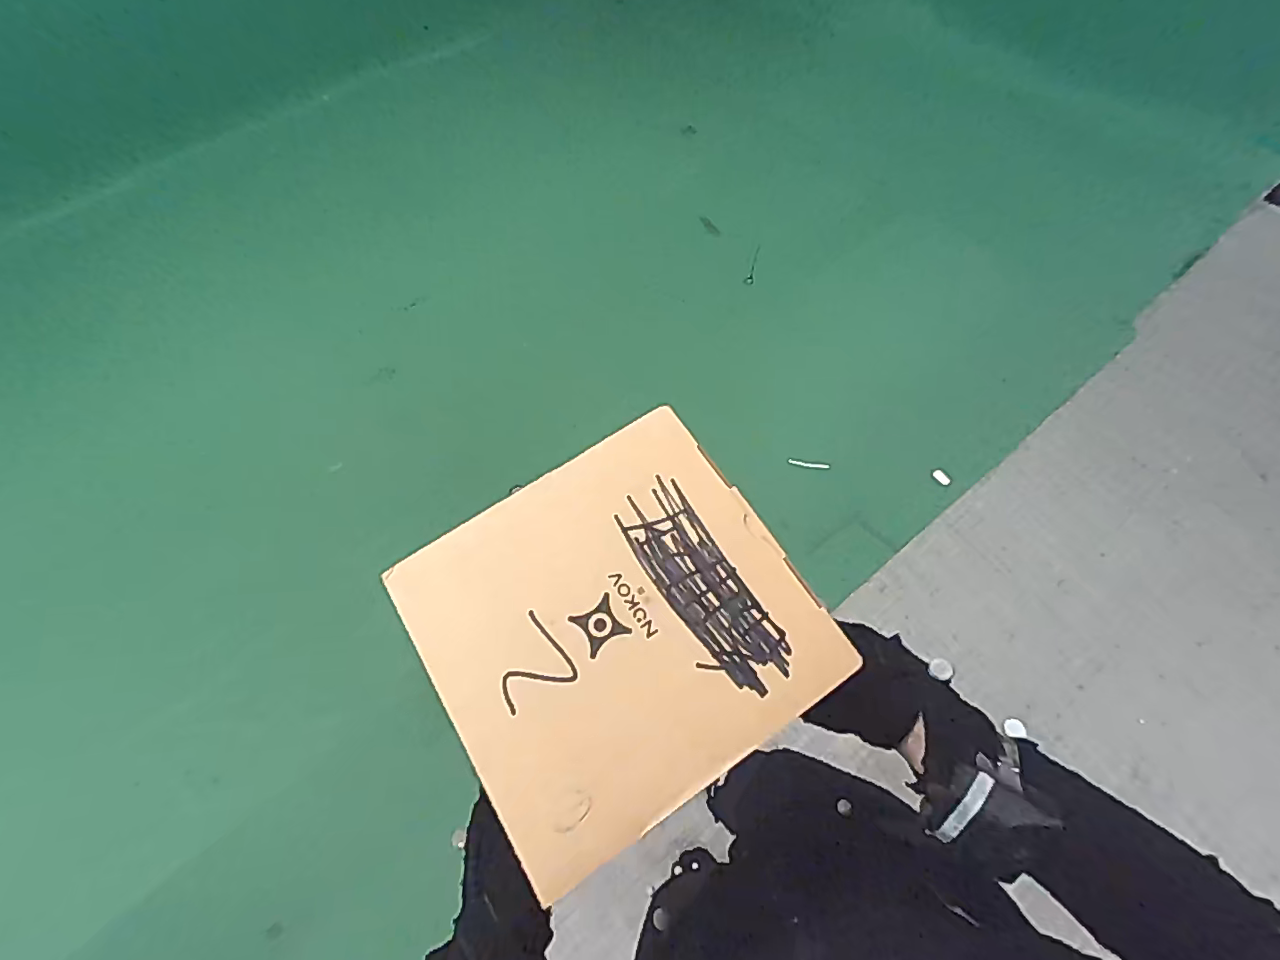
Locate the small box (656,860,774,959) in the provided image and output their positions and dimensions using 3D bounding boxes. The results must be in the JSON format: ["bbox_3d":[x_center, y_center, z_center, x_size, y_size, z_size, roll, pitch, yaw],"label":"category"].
[{"bbox_3d":[0.147,0.886,1.067,0.179,0.176,0.168,8,67,31],"label":"small box"}]
